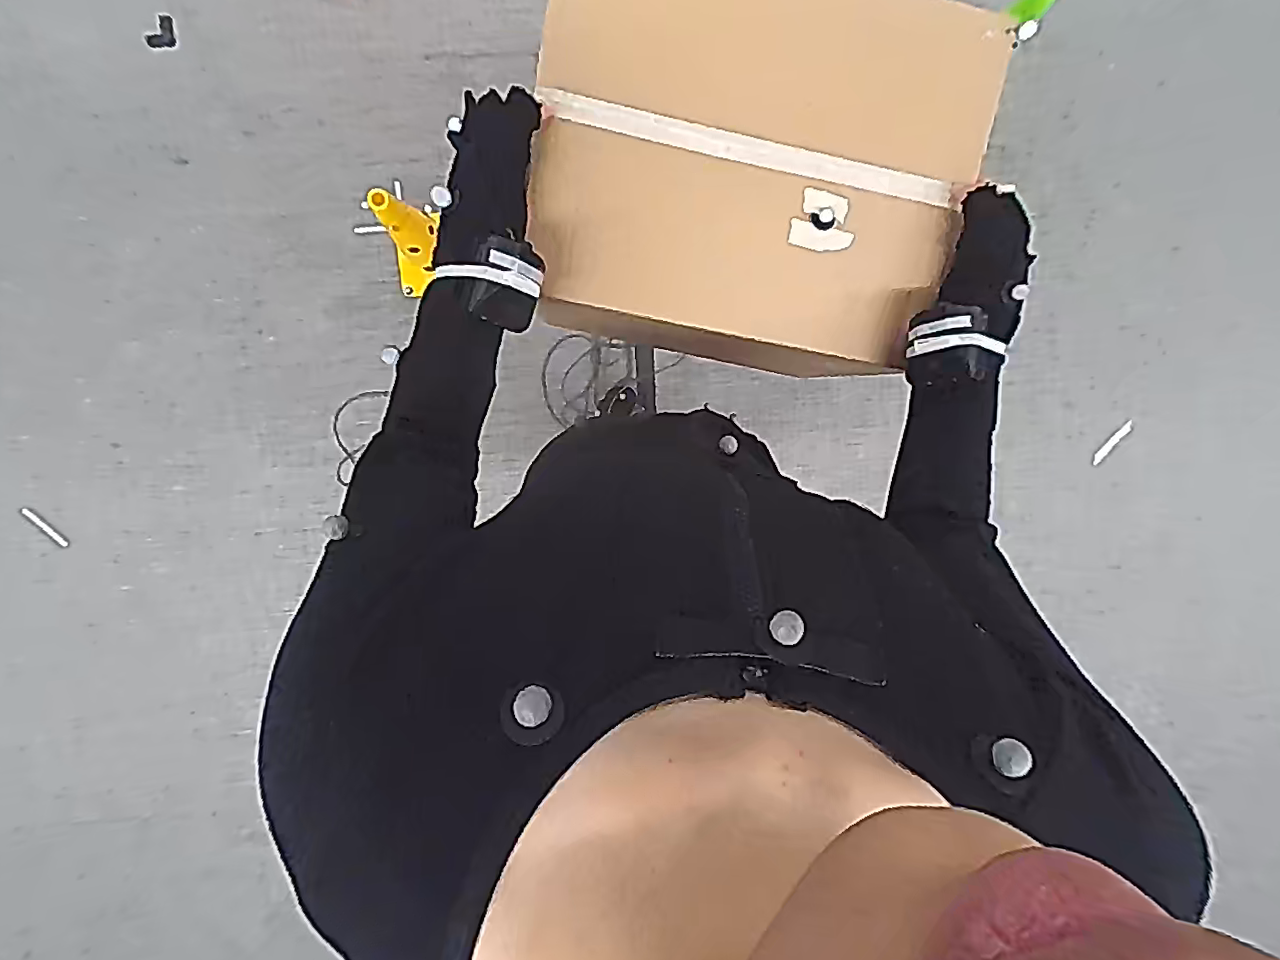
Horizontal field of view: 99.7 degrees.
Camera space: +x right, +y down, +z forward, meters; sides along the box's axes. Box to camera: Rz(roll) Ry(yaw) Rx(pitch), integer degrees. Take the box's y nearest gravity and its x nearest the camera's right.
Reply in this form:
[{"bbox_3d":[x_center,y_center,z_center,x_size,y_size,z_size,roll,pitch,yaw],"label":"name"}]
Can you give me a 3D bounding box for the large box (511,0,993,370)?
[{"bbox_3d":[0.087,-0.320,0.632,0.408,0.320,0.320,9,99,-6],"label":"large box"}]
